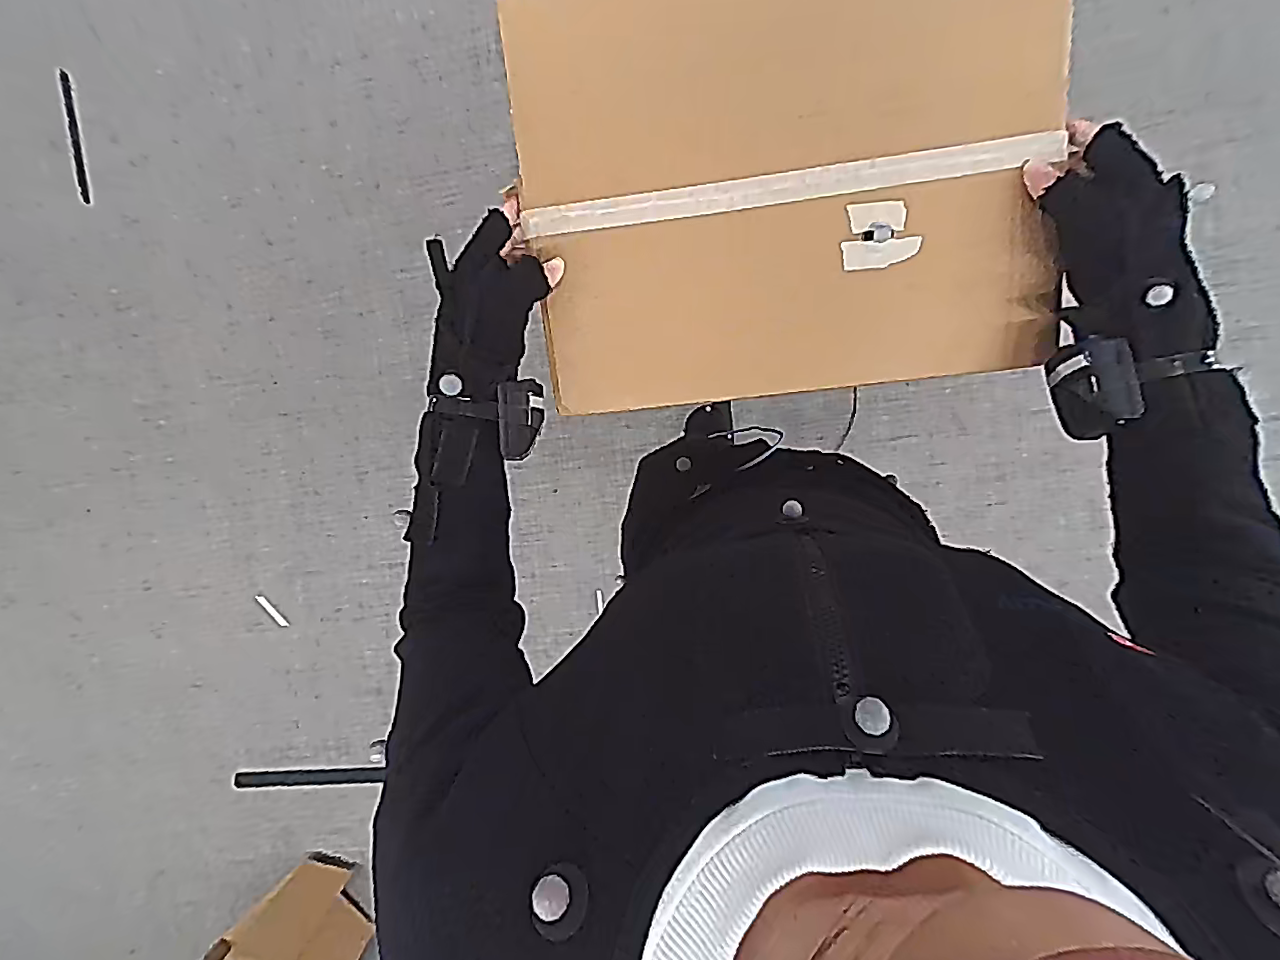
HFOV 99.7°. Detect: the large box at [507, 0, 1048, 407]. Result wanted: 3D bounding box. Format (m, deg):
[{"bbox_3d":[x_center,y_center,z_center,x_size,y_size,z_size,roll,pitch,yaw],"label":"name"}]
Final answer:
[{"bbox_3d":[0.118,-0.266,0.574,0.408,0.320,0.320,-6,103,5],"label":"large box"}]
